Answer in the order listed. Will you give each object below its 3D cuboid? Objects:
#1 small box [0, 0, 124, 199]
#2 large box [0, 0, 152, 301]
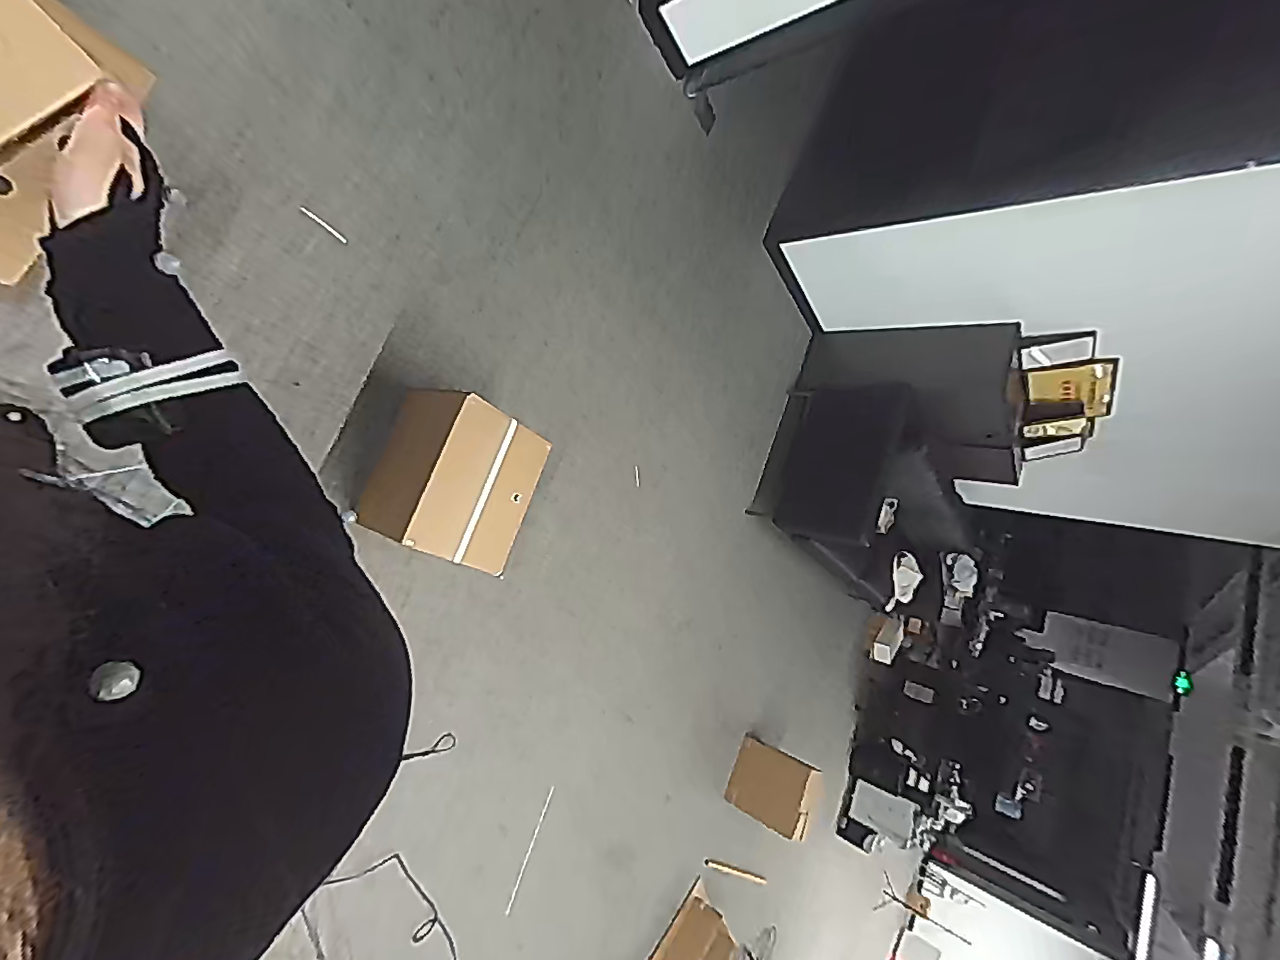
[{"bbox_3d":[-0.455,-0.246,0.300,0.168,0.176,0.179,-53,140,-16],"label":"small box"},{"bbox_3d":[-1.037,-0.538,0.808,0.320,0.320,0.408,33,72,-48],"label":"large box"}]
